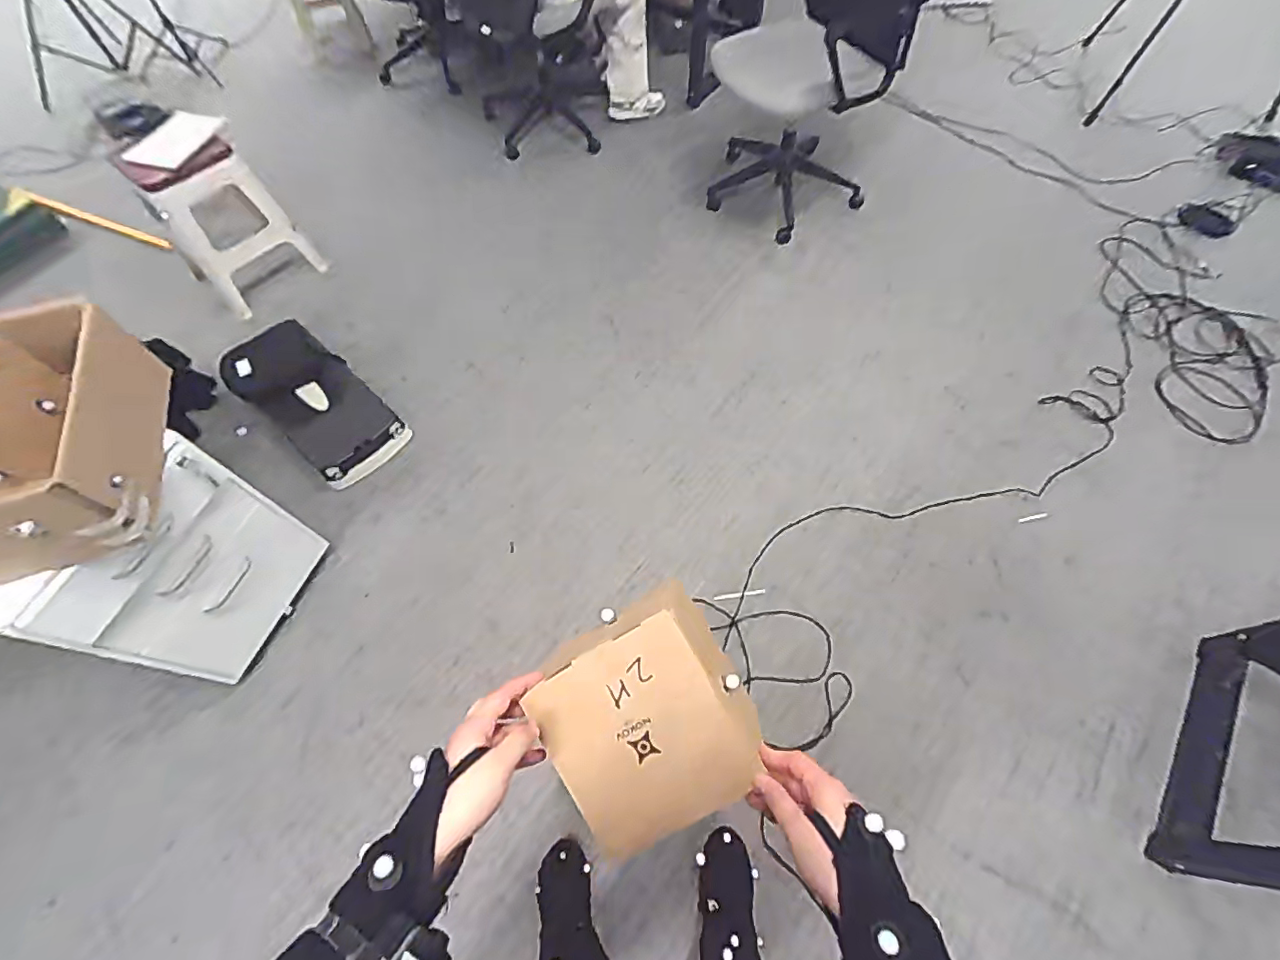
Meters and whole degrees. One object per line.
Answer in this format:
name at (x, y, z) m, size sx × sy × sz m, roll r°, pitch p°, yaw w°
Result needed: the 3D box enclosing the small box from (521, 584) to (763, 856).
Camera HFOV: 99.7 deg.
small box at (0.010, 0.232, 0.571) m, size 0.168 × 0.176 × 0.179 m, roll -32°, pitch 85°, yaw 5°
